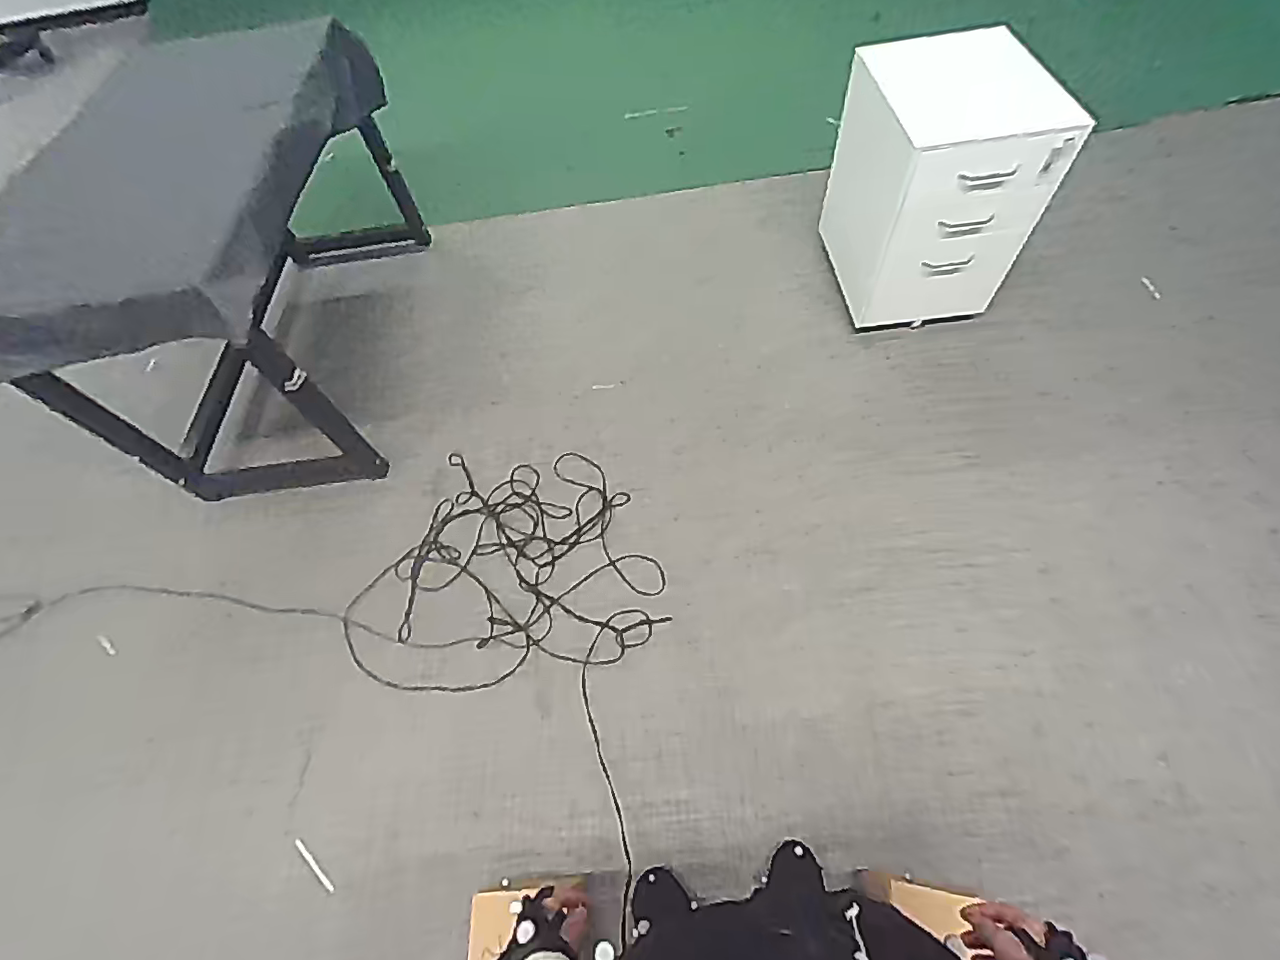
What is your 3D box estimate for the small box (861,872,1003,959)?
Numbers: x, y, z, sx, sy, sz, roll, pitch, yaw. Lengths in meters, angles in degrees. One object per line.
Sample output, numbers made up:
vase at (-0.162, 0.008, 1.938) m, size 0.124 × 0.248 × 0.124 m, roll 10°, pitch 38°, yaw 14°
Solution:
small box at (0.496, 0.798, 0.934) m, size 0.179 × 0.176 × 0.168 m, roll 5°, pitch 61°, yaw 9°
